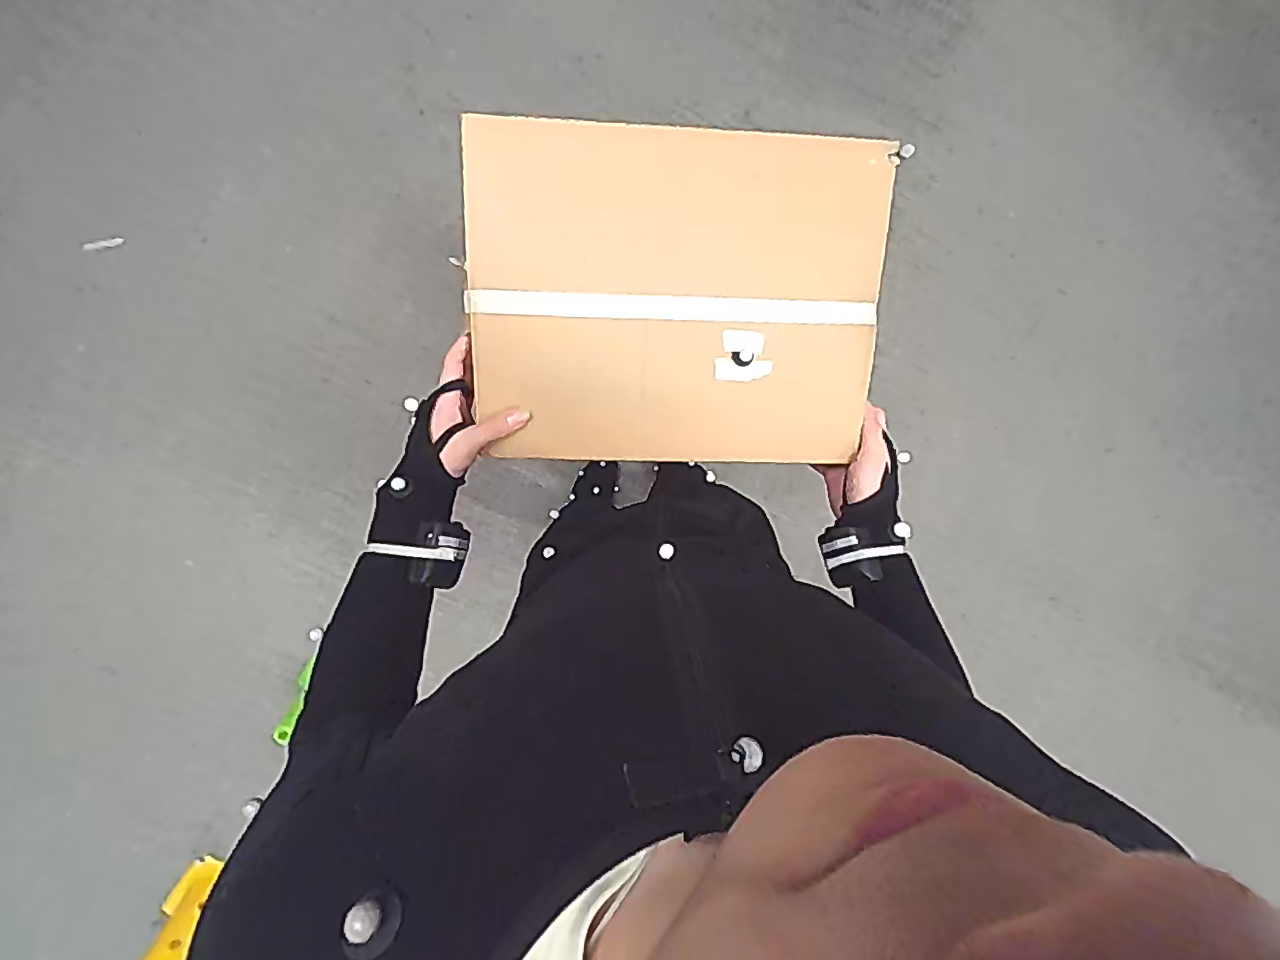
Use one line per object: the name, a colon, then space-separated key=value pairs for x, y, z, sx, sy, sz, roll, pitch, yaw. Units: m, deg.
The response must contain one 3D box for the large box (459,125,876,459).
large box: x=0.018 y=-0.213 z=0.685 sx=0.408 sy=0.320 sz=0.320 roll=-1 pitch=105 yaw=-5
